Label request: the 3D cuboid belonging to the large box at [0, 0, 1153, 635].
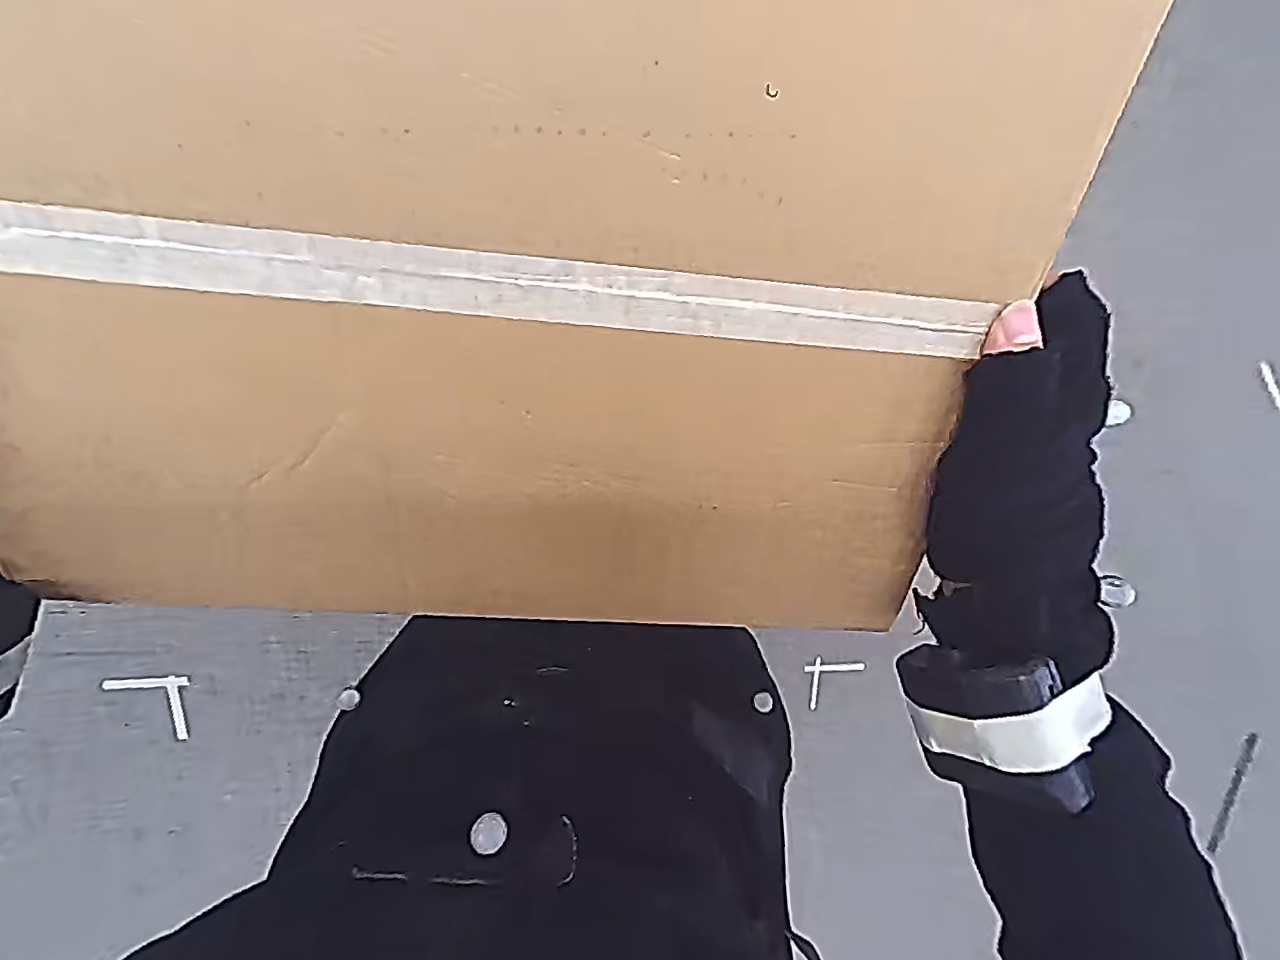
[{"bbox_3d":[-0.063,-0.133,0.328,0.408,0.320,0.320,4,119,-6],"label":"large box"}]
